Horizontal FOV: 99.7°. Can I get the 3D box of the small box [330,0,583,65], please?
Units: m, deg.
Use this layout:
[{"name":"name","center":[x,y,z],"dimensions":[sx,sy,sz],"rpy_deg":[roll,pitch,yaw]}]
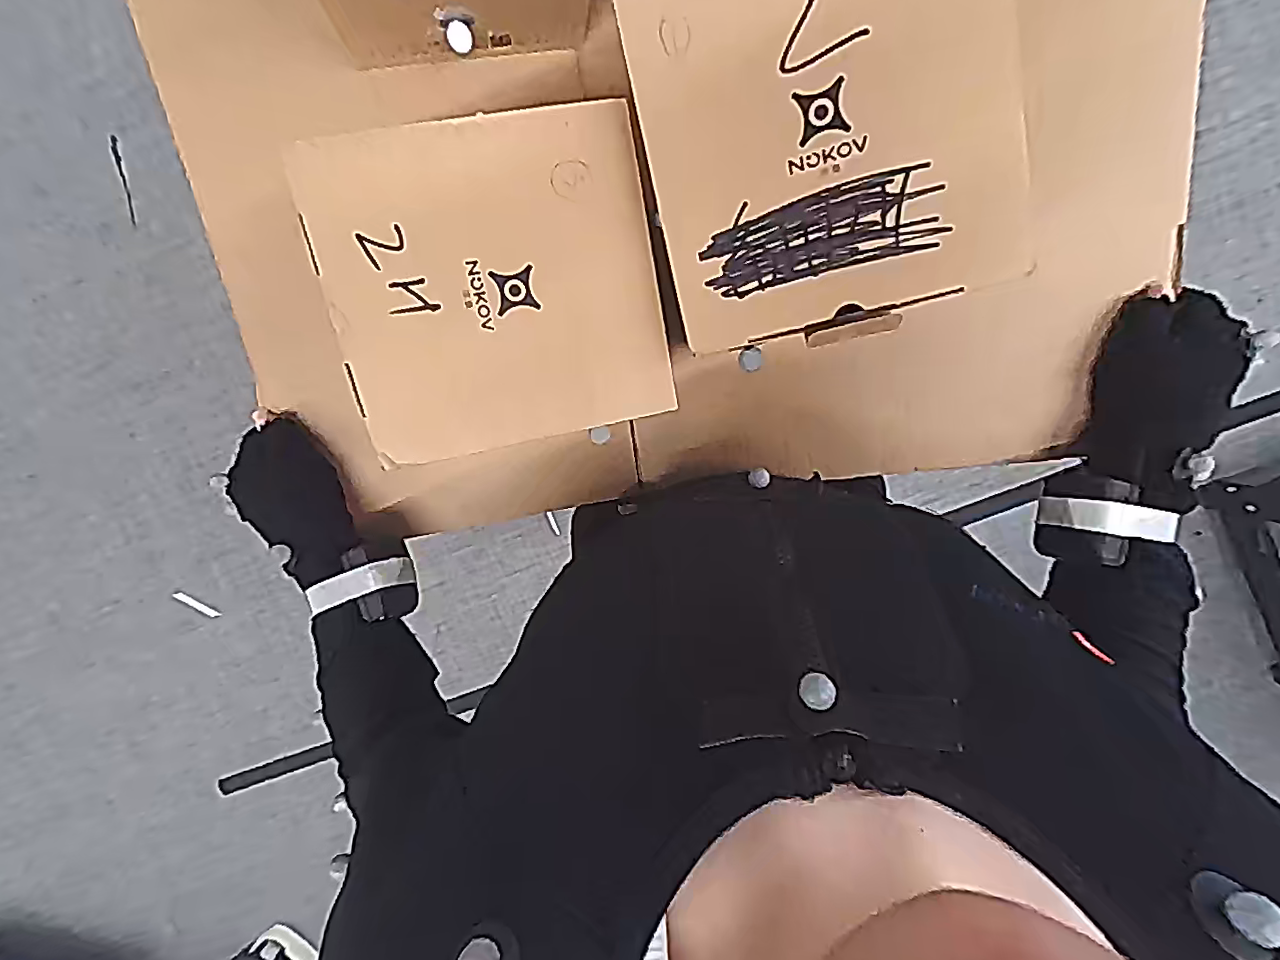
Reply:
[{"name":"small box","center":[-0.123,-0.378,0.302],"dimensions":[0.168,0.176,0.179],"rpy_deg":[-12,106,-8]}]
